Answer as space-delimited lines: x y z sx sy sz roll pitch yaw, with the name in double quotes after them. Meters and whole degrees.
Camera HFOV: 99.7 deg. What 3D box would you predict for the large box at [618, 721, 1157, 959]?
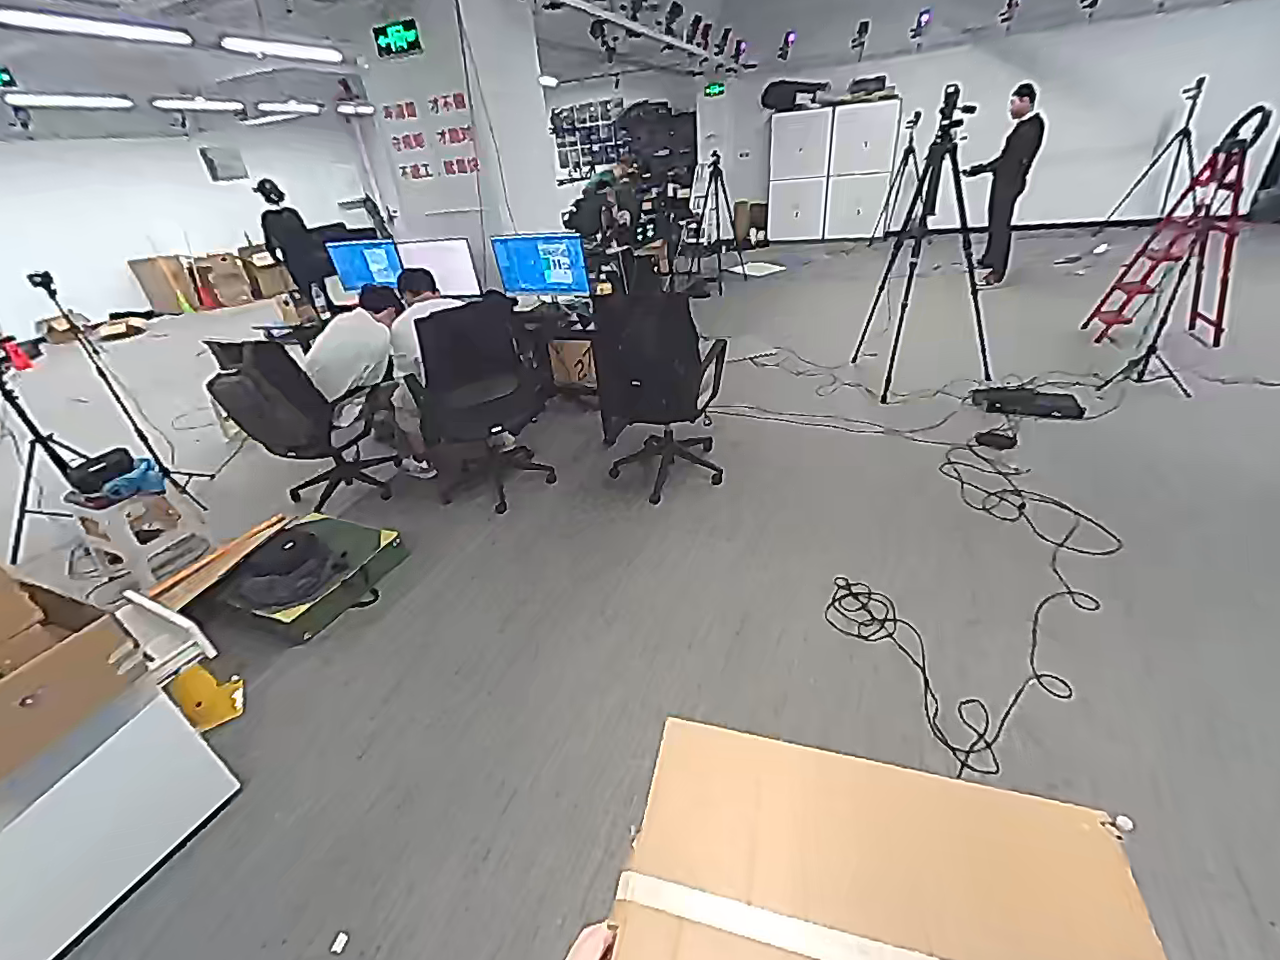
0.191 0.487 0.504 0.408 0.320 0.320 7 37 13 "large box"
